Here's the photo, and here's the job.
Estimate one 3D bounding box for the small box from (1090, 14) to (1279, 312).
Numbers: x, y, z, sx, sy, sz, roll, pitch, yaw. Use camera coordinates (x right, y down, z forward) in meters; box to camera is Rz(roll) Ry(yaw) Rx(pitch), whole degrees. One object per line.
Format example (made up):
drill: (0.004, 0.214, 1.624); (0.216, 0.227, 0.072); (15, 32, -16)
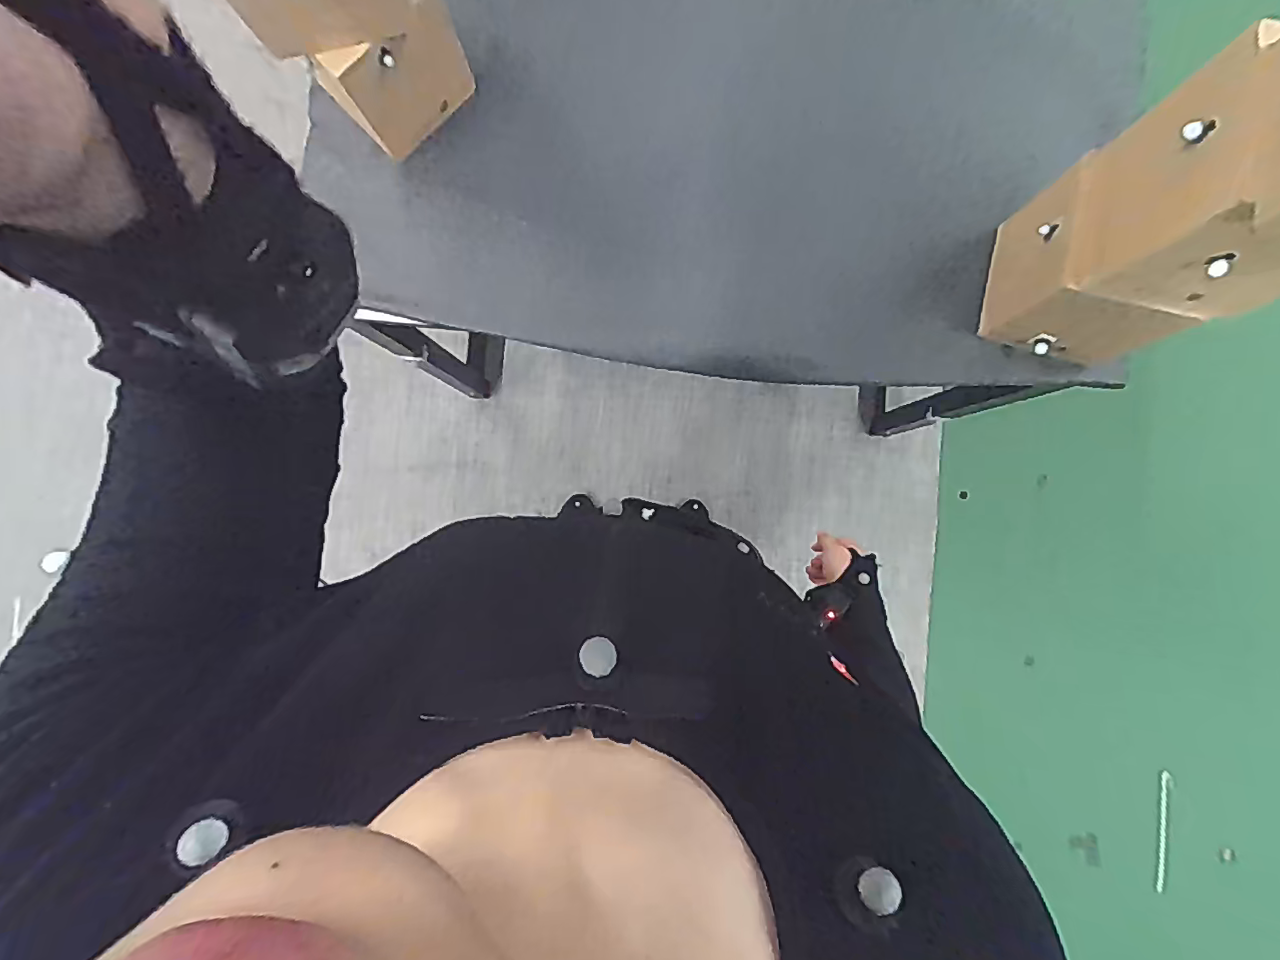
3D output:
small box: (0.589, -0.286, 0.526); (0.168, 0.176, 0.179); (12, 84, 2)

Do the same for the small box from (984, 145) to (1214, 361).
small box: (0.576, -0.273, 0.687); (0.168, 0.176, 0.179); (14, 86, 3)

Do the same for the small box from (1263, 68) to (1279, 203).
small box: (0.591, -0.277, 0.359); (0.168, 0.176, 0.179); (13, 84, 2)

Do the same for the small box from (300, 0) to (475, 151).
small box: (-0.352, -0.588, 0.711); (0.168, 0.176, 0.179); (-44, 89, -1)

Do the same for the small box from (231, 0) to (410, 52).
small box: (-0.354, -0.588, 0.546); (0.179, 0.176, 0.168); (-13, 89, 1)
